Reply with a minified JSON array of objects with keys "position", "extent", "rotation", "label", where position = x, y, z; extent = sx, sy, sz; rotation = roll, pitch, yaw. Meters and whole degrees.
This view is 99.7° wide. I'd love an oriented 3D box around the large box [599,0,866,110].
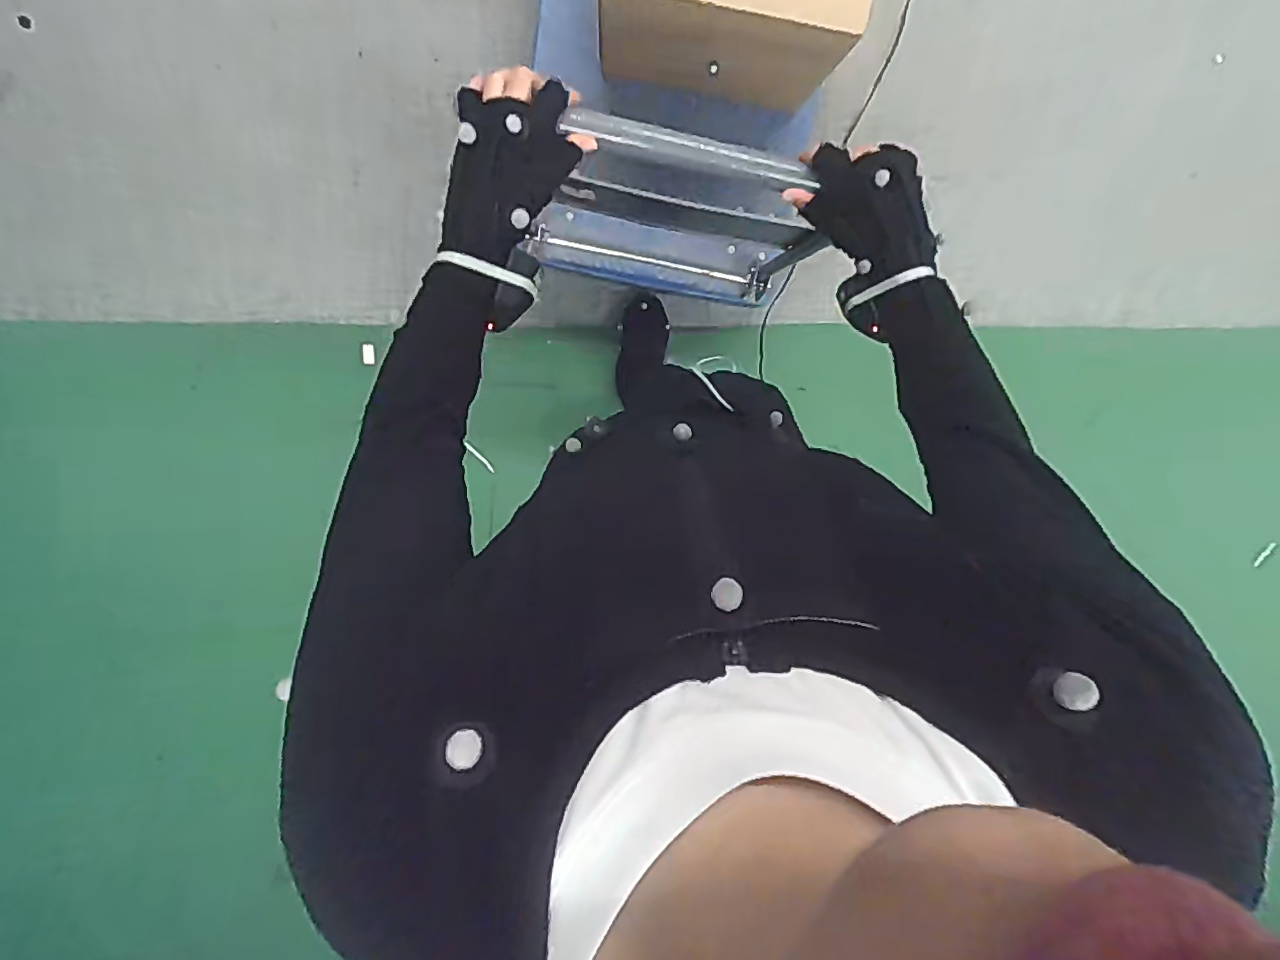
[{"position":[0.153,-0.880,0.911],"extent":[0.408,0.320,0.320],"rotation":[8,104,-4],"label":"large box"}]
